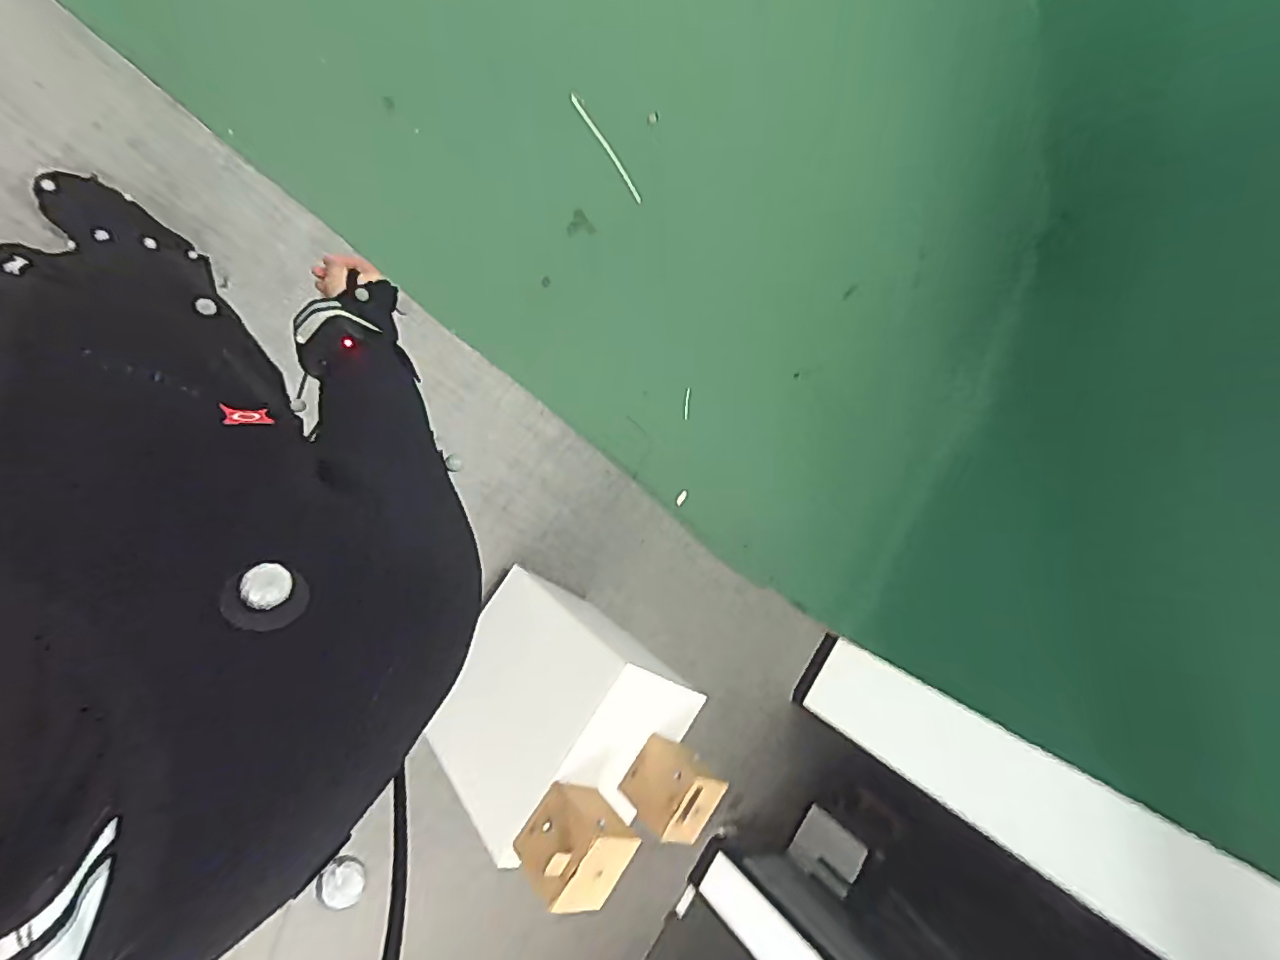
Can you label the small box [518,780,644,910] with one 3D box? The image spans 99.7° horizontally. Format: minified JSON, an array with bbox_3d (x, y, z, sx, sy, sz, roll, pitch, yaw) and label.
[{"bbox_3d":[-0.131,0.793,1.188,0.168,0.176,0.179,-56,134,-8],"label":"small box"}]
